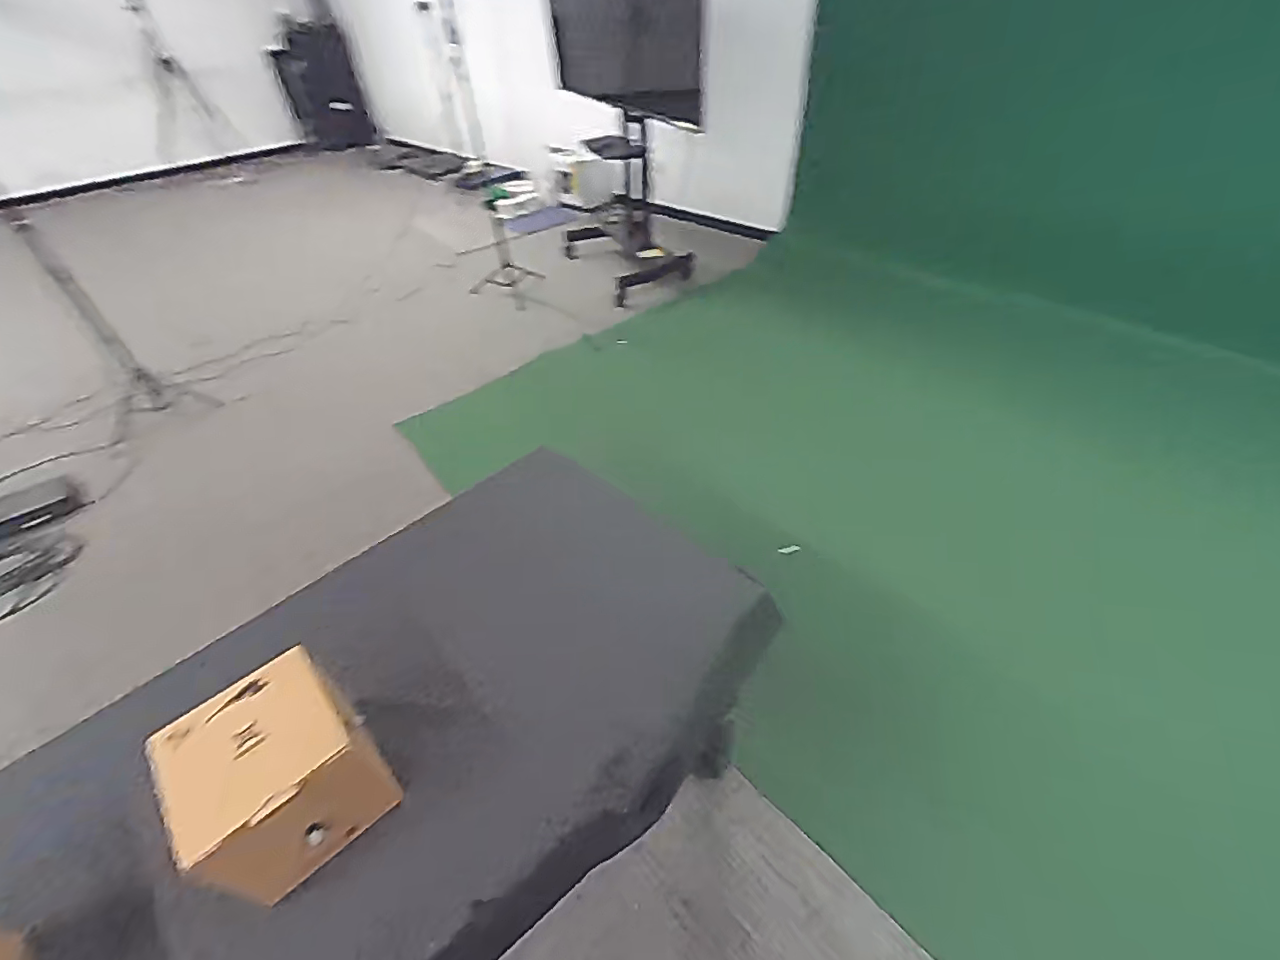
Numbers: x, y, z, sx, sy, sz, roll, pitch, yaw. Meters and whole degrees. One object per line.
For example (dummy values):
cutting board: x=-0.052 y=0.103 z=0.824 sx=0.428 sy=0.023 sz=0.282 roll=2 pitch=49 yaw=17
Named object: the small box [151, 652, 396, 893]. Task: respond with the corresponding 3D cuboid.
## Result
small box: x=-0.426 y=0.353 z=0.651 sx=0.168 sy=0.176 sz=0.179 roll=-34 pitch=51 yaw=-29
